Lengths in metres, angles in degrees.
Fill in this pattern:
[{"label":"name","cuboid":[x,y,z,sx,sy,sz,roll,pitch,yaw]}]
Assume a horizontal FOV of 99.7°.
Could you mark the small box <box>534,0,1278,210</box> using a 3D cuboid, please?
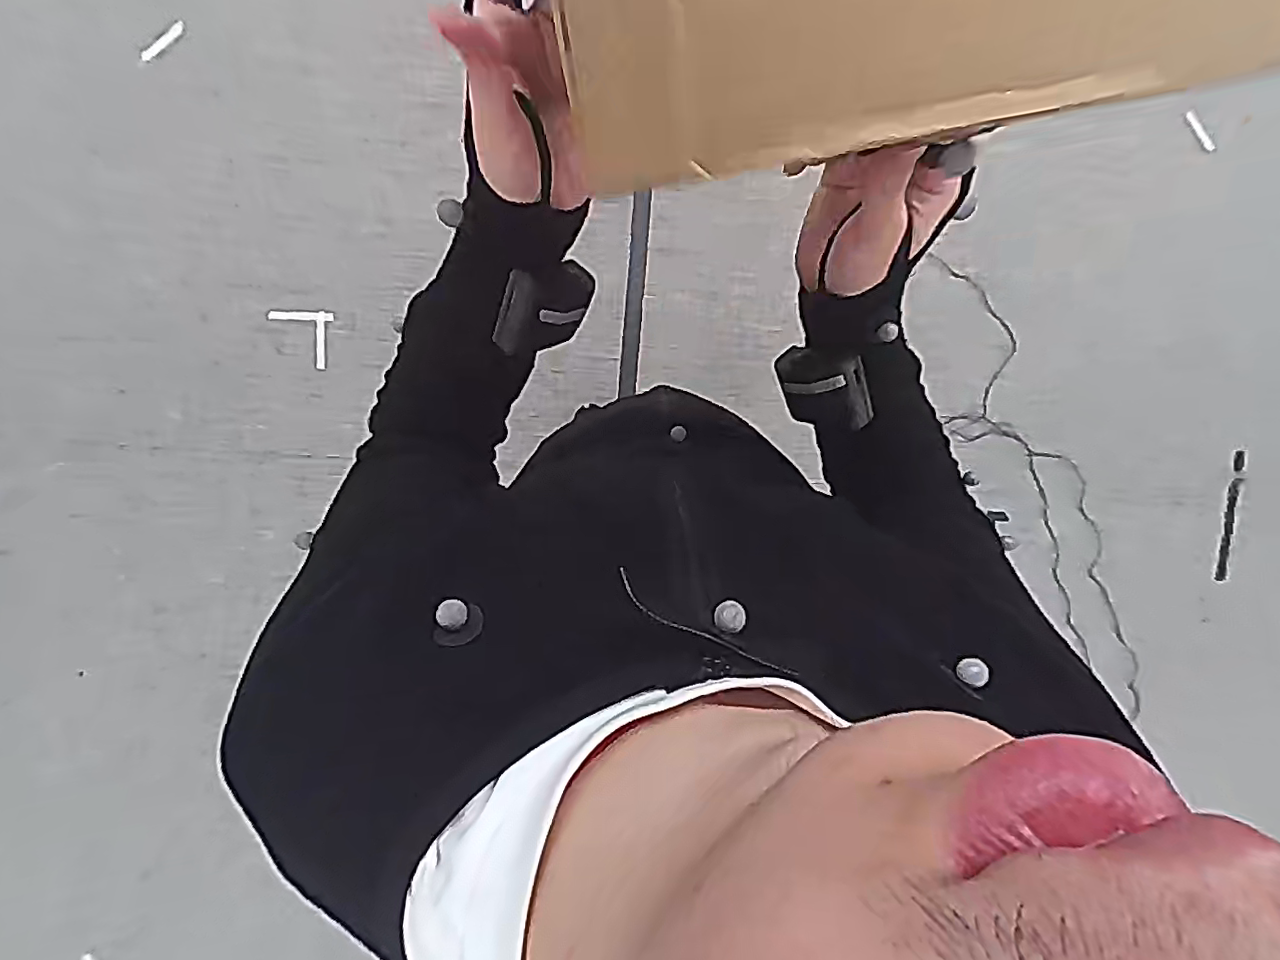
[{"label":"small box","cuboid":[0.055,-0.199,0.176,0.179,0.176,0.168,-18,116,-5]}]
